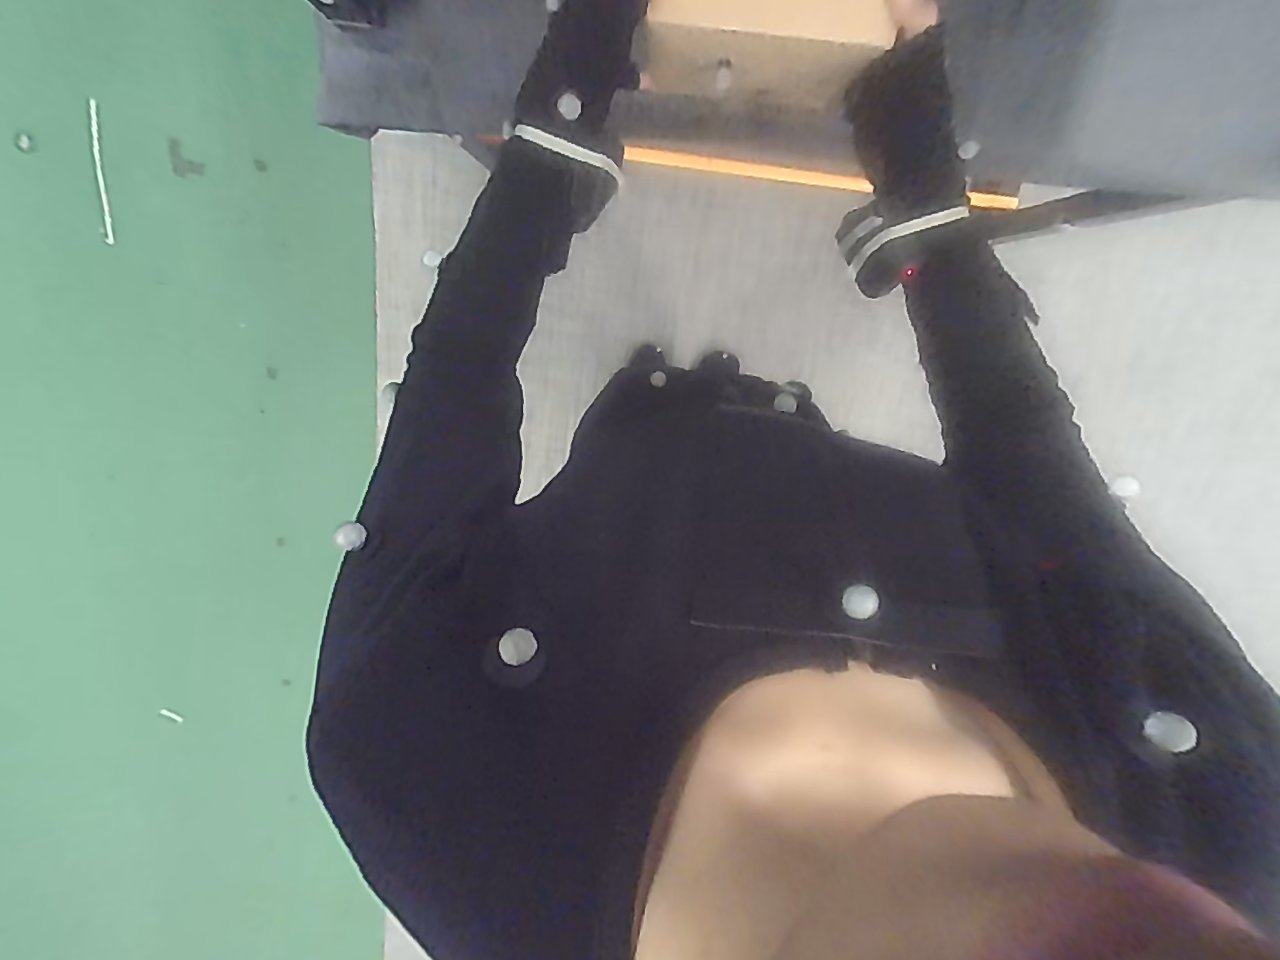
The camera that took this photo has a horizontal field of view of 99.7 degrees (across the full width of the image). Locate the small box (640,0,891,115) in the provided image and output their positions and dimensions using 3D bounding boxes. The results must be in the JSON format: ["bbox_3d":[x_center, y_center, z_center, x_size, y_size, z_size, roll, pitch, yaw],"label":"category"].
[{"bbox_3d":[0.092,-0.401,0.409,0.168,0.176,0.179,5,111,-1],"label":"small box"}]
